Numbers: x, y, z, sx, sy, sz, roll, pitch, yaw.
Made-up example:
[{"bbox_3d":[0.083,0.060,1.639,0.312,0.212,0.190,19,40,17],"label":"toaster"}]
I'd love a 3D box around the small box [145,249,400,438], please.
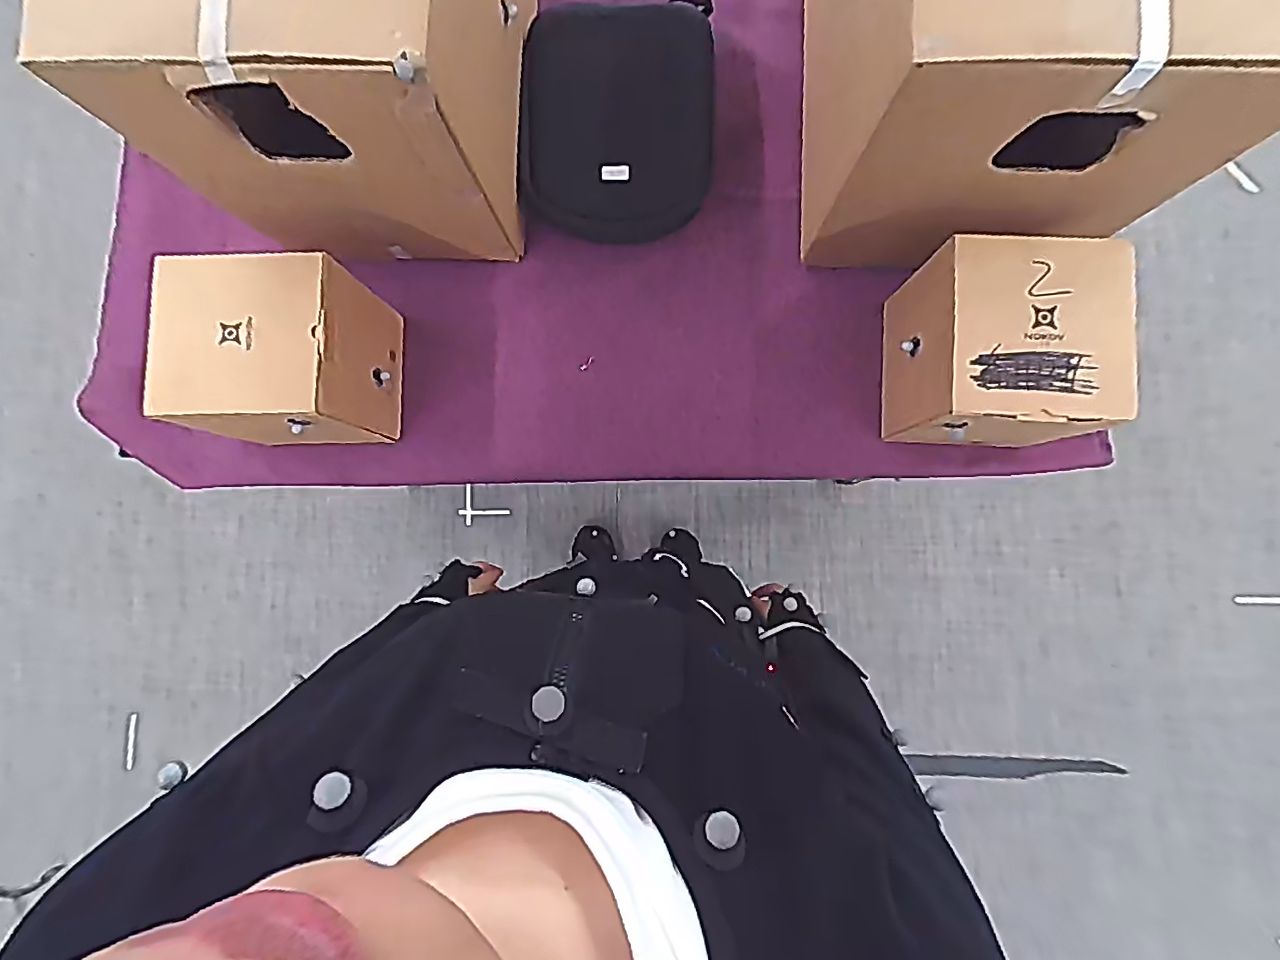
[{"bbox_3d":[-0.402,-0.143,0.620,0.179,0.176,0.168,-1,85,1],"label":"small box"}]

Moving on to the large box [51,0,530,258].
[{"bbox_3d":[-0.302,-0.498,0.572,0.320,0.320,0.408,2,89,3],"label":"large box"}]
